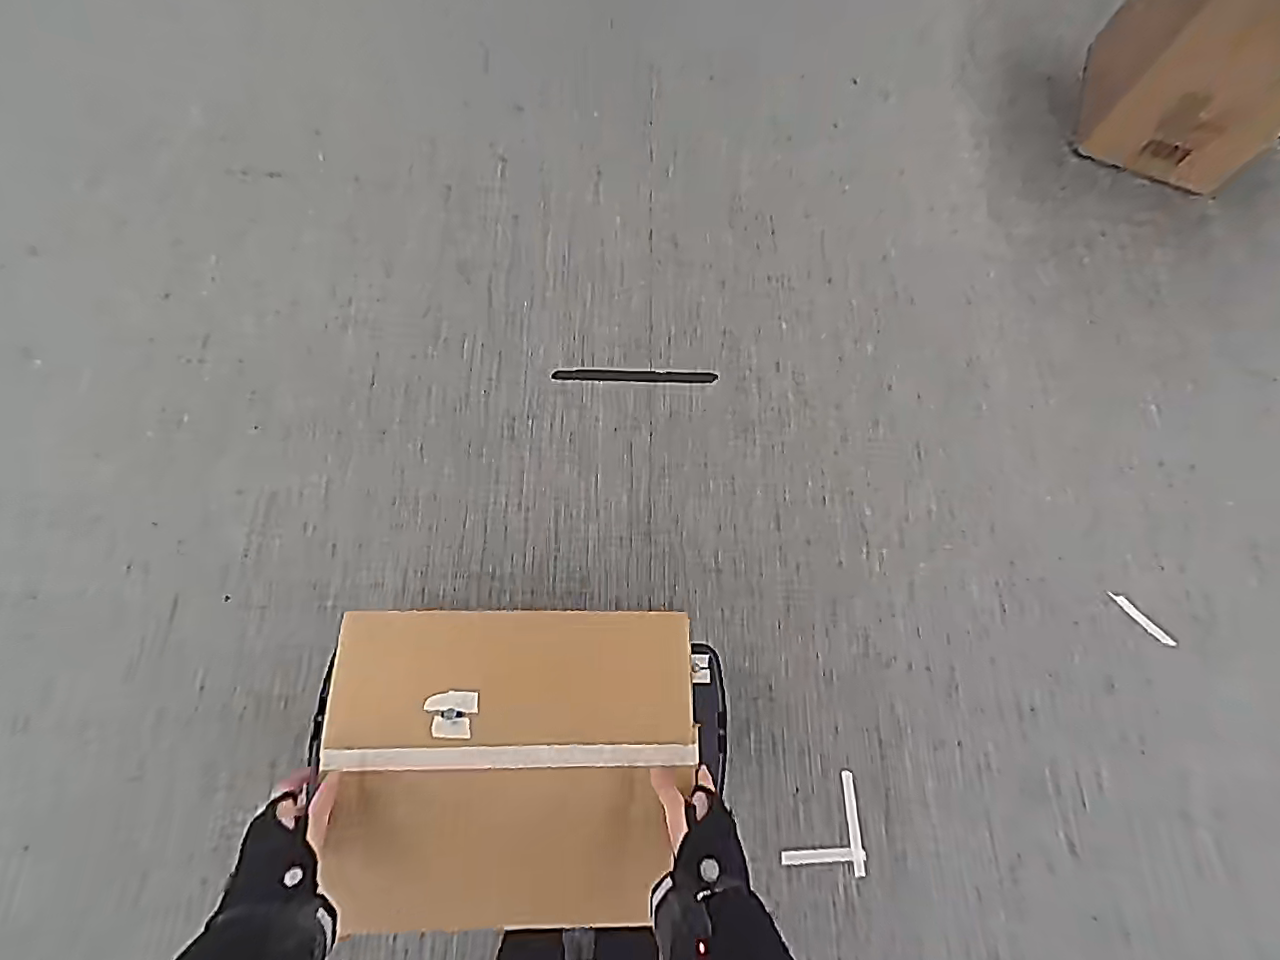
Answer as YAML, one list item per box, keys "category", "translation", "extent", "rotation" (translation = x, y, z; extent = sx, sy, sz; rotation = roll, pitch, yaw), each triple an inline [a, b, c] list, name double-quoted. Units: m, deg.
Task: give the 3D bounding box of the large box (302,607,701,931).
- category: "large box"
  translation: [-0.142, 0.345, 0.726]
  extent: [0.408, 0.320, 0.320]
  rotation: [1, 71, -2]
